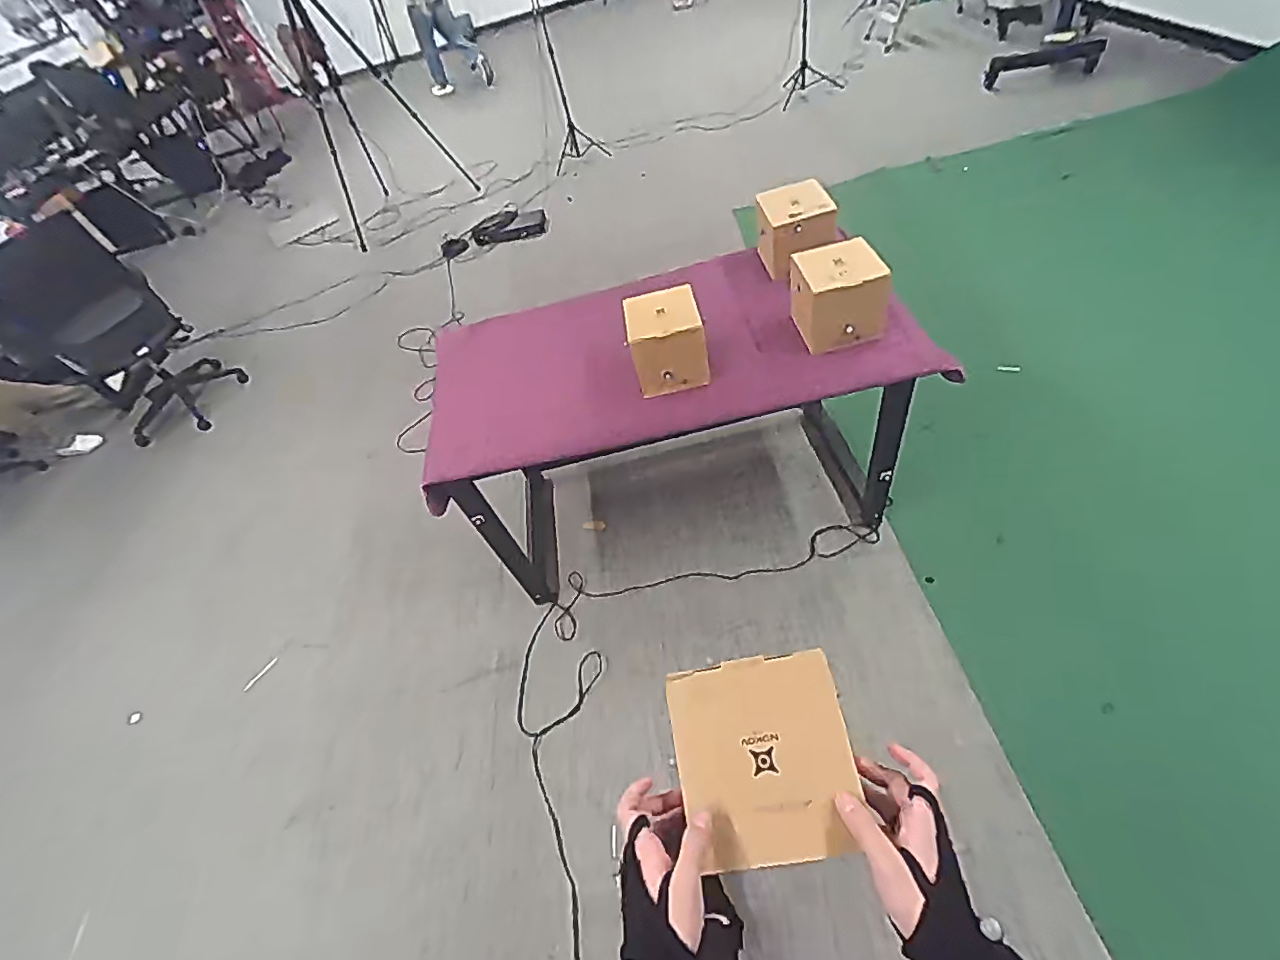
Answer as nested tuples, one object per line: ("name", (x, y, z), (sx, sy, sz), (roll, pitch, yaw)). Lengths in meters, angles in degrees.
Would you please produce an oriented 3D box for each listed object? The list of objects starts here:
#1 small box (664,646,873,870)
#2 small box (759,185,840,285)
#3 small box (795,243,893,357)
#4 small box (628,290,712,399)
("small box", (0.128, 0.289, 0.587), (0.168, 0.176, 0.179), (-12, 67, 7))
("small box", (0.425, -0.659, 1.462), (0.168, 0.176, 0.179), (-14, 51, 6))
("small box", (0.463, -0.415, 1.255), (0.168, 0.176, 0.179), (-12, 49, 6))
("small box", (0.071, -0.320, 1.286), (0.168, 0.176, 0.179), (-12, 49, 5))
